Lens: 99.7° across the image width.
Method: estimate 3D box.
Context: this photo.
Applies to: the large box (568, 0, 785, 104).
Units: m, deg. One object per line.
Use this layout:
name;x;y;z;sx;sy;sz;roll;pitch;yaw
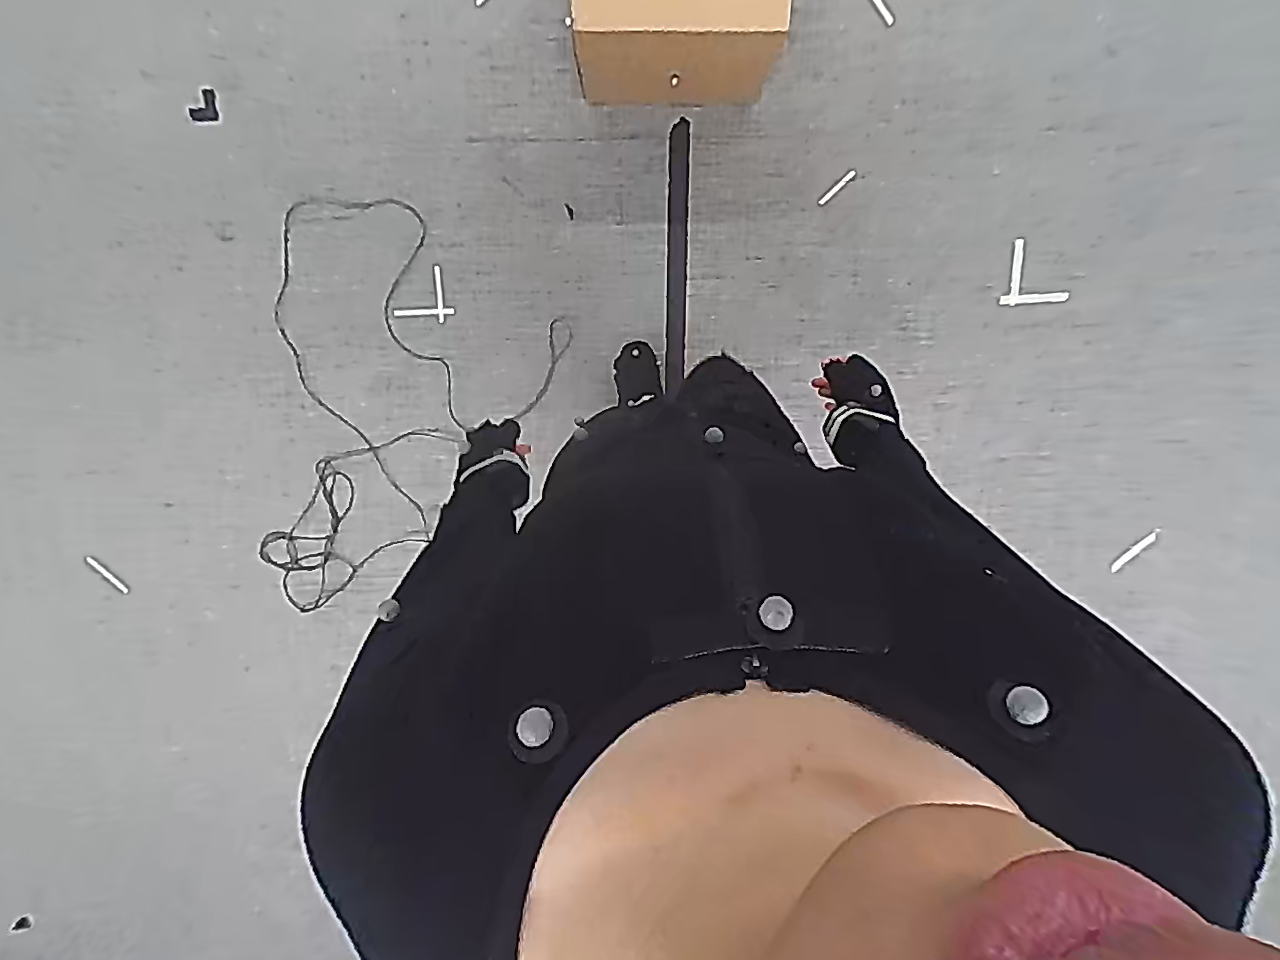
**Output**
large box;0.068;-1.010;1.110;0.408;0.320;0.320;0;103;0
